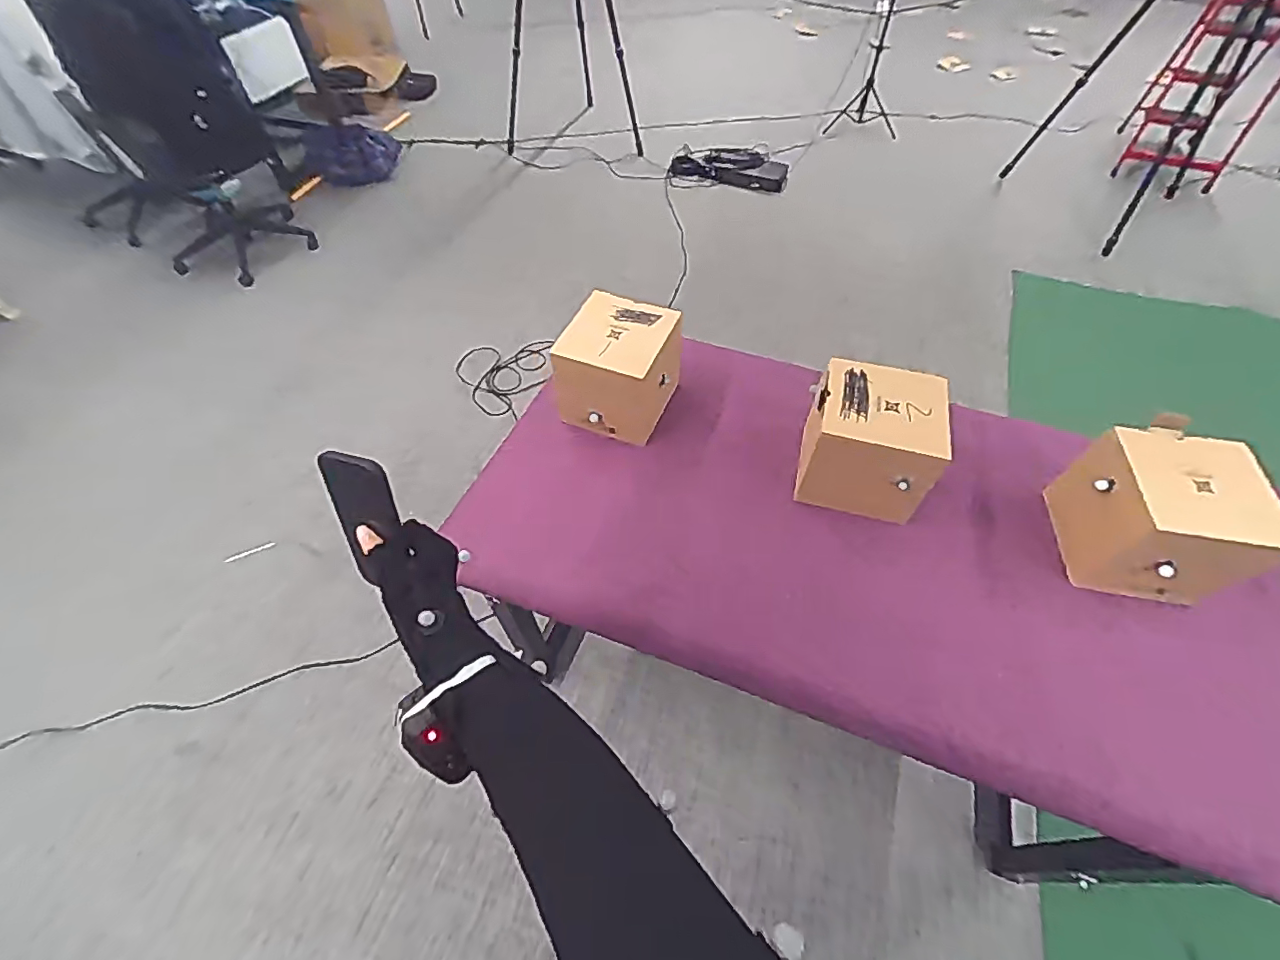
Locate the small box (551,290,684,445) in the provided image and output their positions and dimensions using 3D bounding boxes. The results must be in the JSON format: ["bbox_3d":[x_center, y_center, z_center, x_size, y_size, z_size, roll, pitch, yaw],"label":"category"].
[{"bbox_3d":[-0.035,-0.194,0.942,0.168,0.176,0.179,19,57,14],"label":"small box"}]

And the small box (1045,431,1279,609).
[{"bbox_3d":[0.716,0.060,0.756,0.168,0.176,0.179,9,53,8],"label":"small box"}]
